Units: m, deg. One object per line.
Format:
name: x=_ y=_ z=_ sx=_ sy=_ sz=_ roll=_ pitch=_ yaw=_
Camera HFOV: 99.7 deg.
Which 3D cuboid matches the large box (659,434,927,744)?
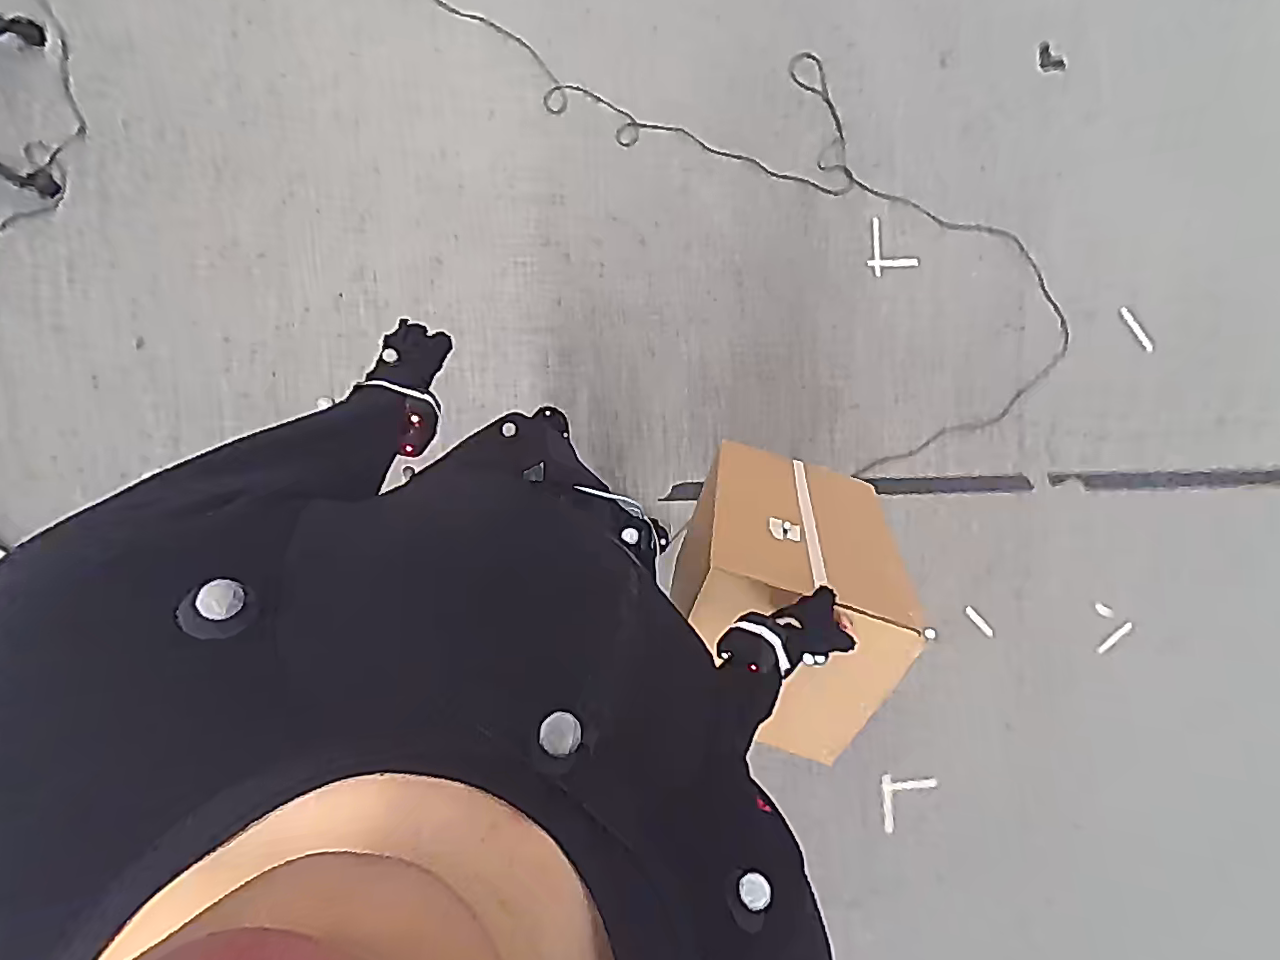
large box: x=0.238 y=0.174 z=0.976 sx=0.320 sy=0.408 sz=0.320 roll=16 pitch=123 yaw=1
